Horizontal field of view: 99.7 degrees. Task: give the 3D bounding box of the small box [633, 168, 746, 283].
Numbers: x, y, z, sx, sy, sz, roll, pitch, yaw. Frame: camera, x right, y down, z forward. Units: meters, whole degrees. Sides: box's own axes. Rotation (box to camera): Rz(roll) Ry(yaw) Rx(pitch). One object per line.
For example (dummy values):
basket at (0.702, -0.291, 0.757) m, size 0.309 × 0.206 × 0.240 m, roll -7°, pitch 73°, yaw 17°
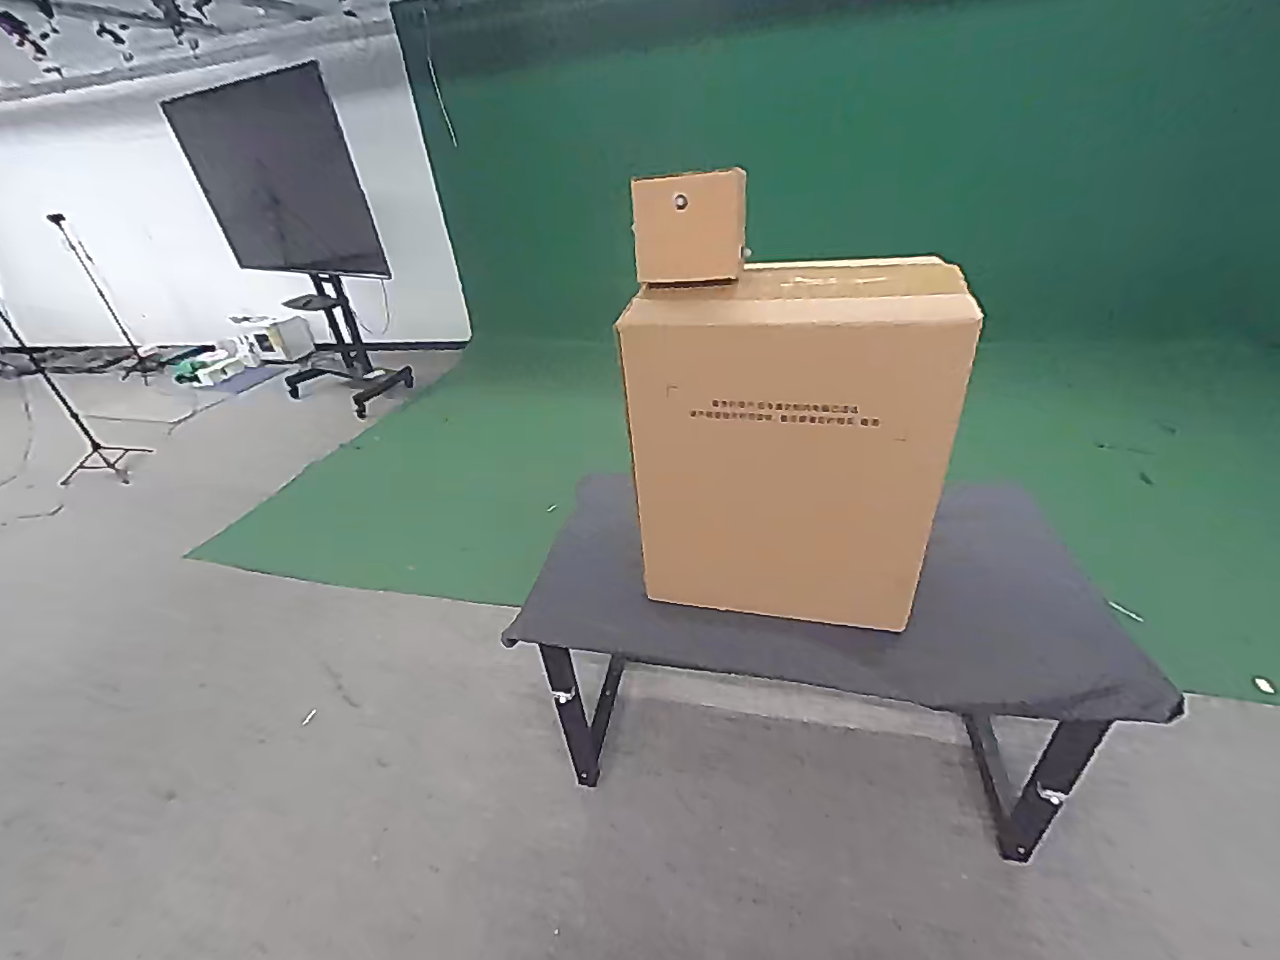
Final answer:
small box at (0.093, -0.448, 0.963) m, size 0.179 × 0.176 × 0.168 m, roll 4°, pitch 27°, yaw 12°
